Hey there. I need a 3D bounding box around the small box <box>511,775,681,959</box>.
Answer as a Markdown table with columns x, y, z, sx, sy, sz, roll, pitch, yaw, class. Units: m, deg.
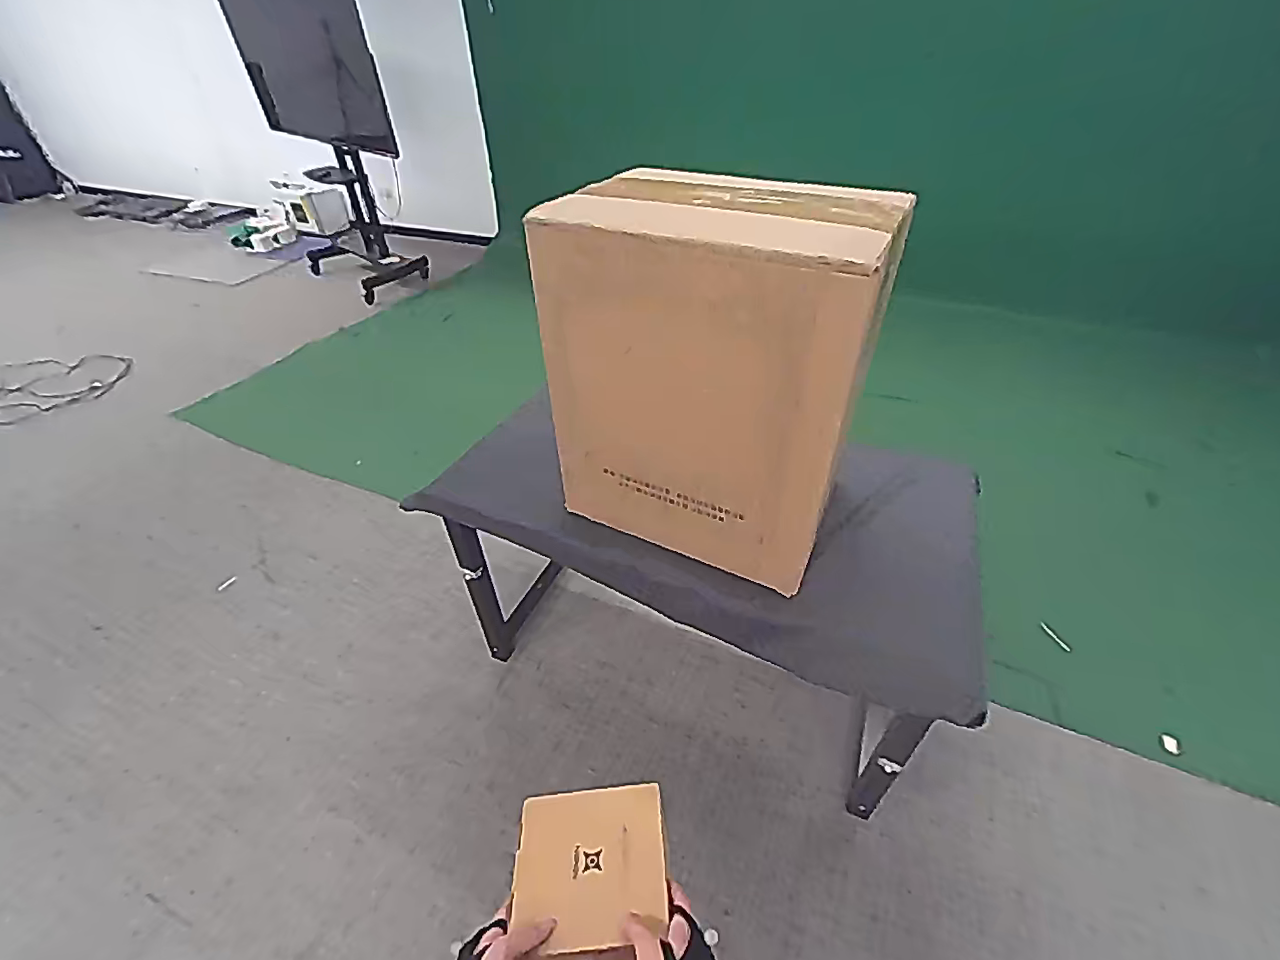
| x | y | z | sx | sy | sz | roll | pitch | yaw | class |
| --- | --- | --- | --- | --- | --- | --- | --- | --- | --- |
| -0.047 | 0.502 | 0.670 | 0.179 | 0.176 | 0.168 | -6 | 32 | -1 | small box |
